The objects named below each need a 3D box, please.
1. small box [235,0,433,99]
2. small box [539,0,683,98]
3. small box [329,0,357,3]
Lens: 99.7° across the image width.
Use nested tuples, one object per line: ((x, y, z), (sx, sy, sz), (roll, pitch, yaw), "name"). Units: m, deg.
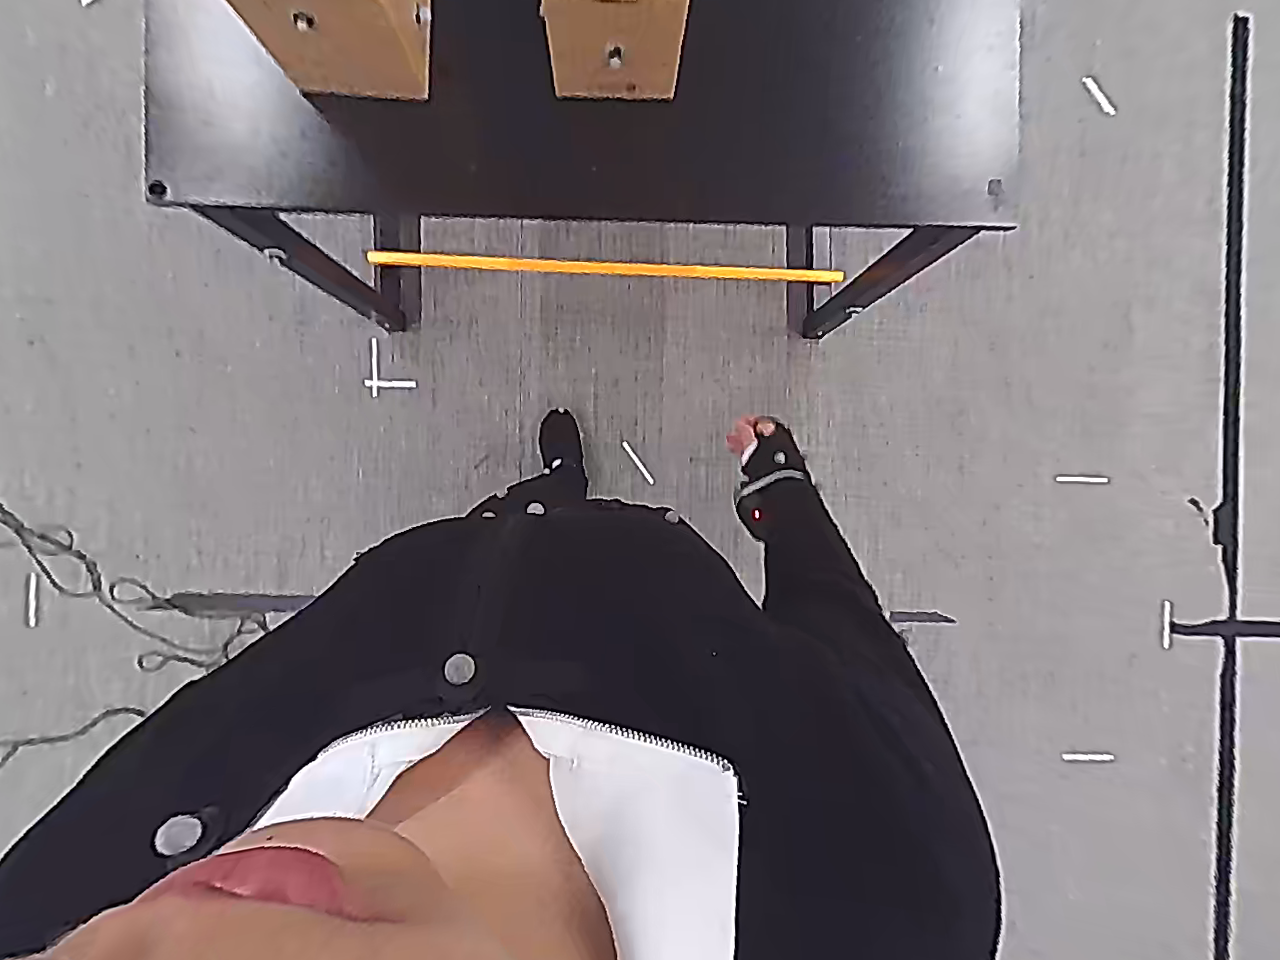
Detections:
((-0.370, -0.603, 0.657), (0.179, 0.176, 0.168), (2, 90, -4), "small box")
((-0.034, -0.617, 0.675), (0.168, 0.176, 0.179), (-1, 91, -2), "small box")
((-0.365, -0.600, 0.495), (0.168, 0.176, 0.179), (1, 91, -1), "small box")
